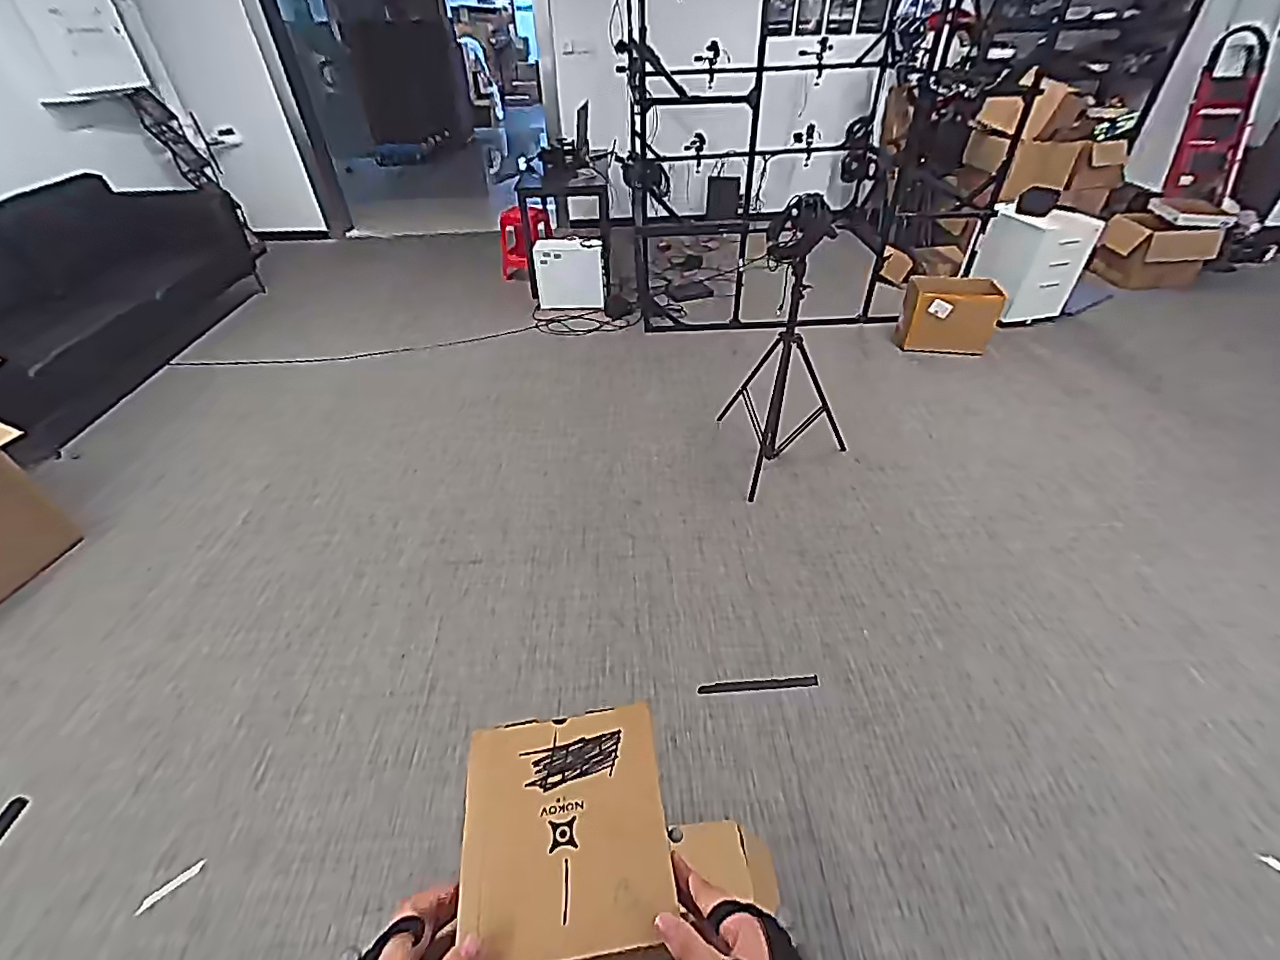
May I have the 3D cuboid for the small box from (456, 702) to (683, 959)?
[{"bbox_3d":[-0.058,0.337,0.502,0.168,0.176,0.179,-8,45,-4],"label":"small box"}]
